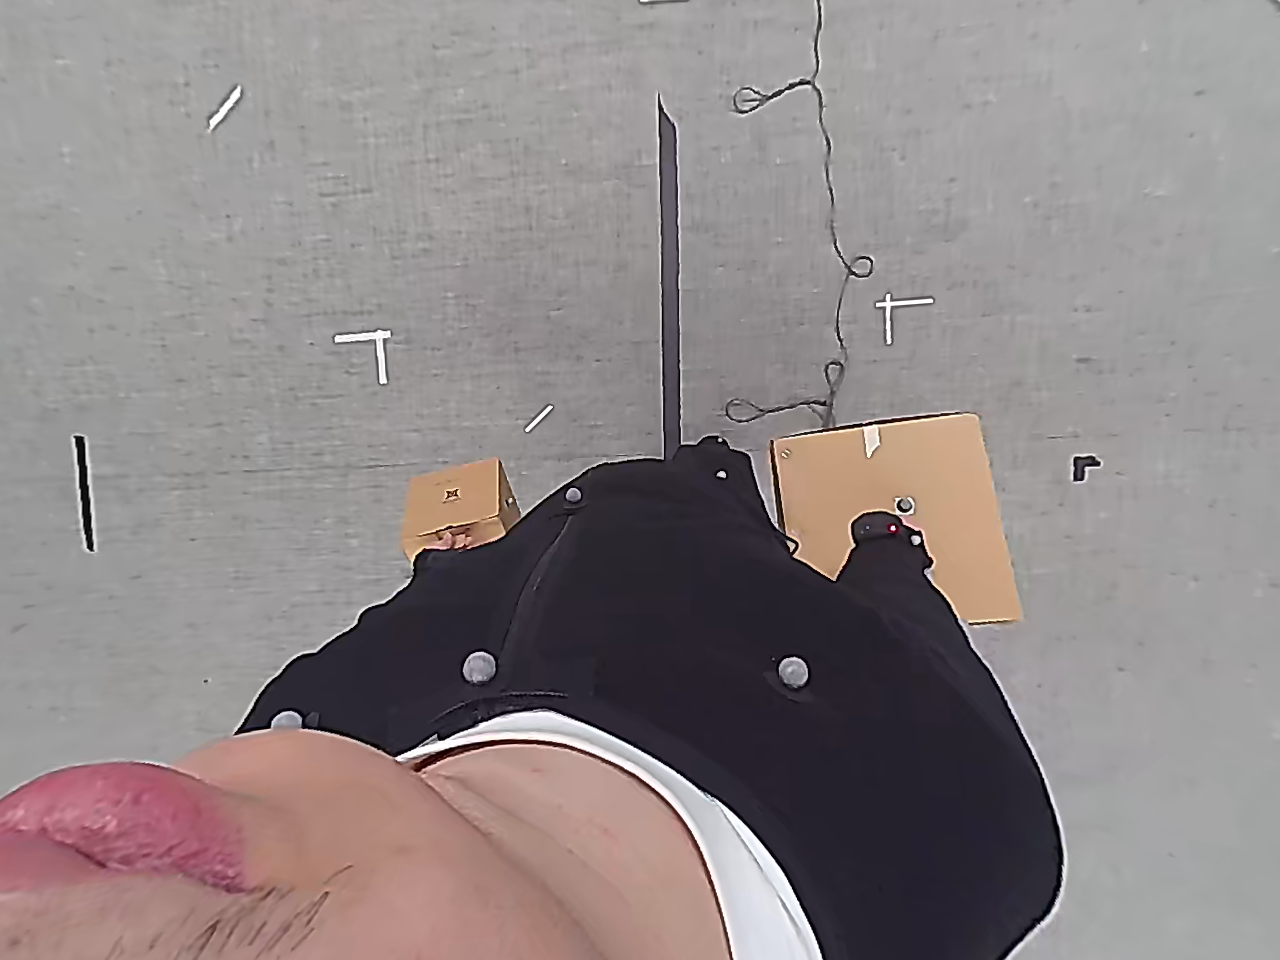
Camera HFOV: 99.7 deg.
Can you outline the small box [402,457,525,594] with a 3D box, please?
[{"bbox_3d":[-0.315,0.089,0.996,0.168,0.179,0.176,-14,129,-5],"label":"small box"}]
